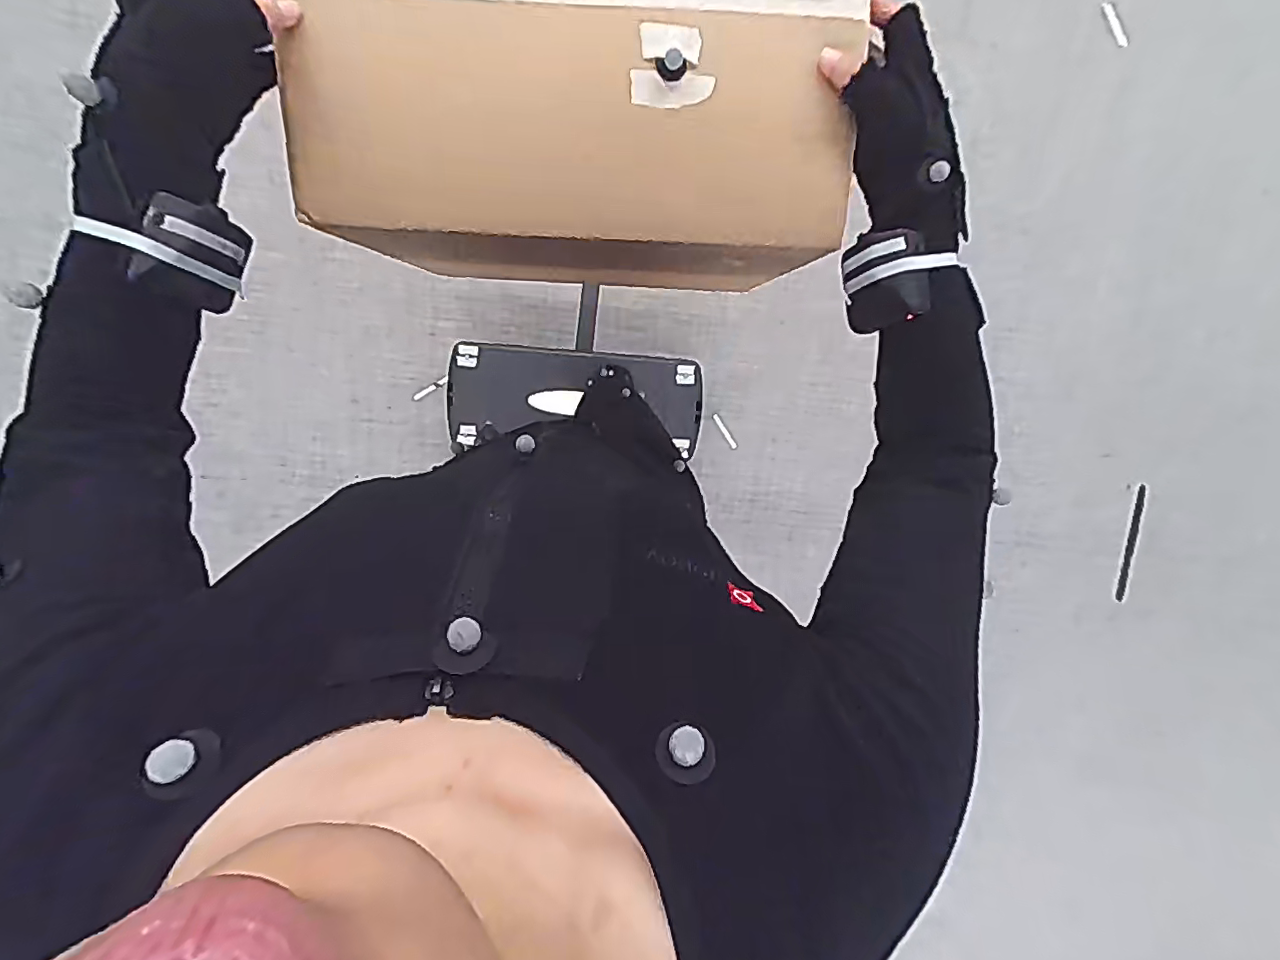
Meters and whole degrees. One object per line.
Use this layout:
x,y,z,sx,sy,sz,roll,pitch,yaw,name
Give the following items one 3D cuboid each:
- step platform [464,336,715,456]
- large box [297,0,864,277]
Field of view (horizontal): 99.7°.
-0.135,-0.229,1.509,0.684,0.204,0.286,3,98,-5,step platform
-0.045,-0.381,0.521,0.408,0.320,0.320,2,105,-3,large box
